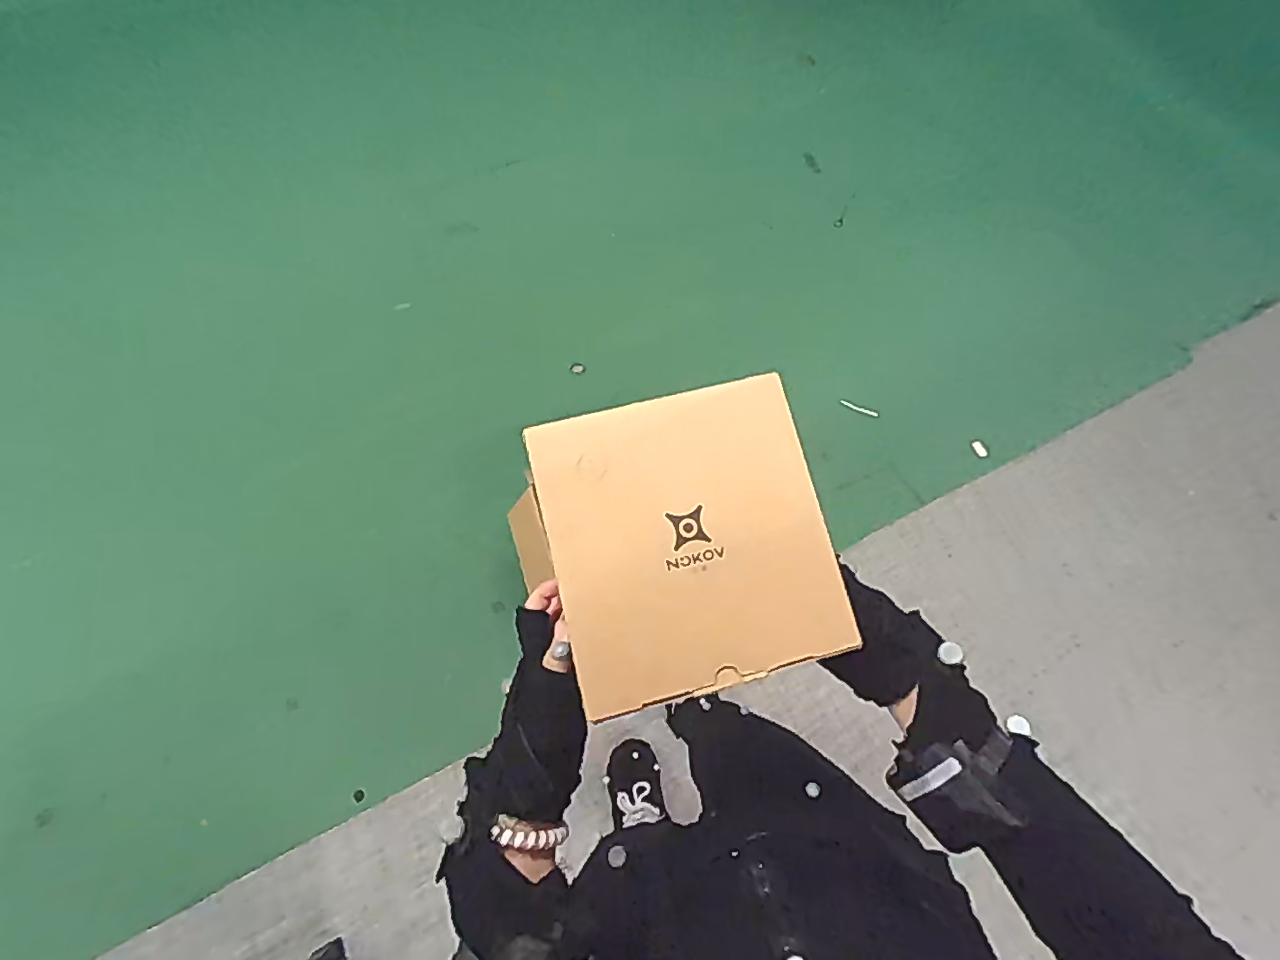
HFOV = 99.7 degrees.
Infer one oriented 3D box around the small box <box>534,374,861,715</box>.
[{"bbox_3d":[0.025,0.046,0.399,0.168,0.176,0.179,-13,81,-7],"label":"small box"}]
